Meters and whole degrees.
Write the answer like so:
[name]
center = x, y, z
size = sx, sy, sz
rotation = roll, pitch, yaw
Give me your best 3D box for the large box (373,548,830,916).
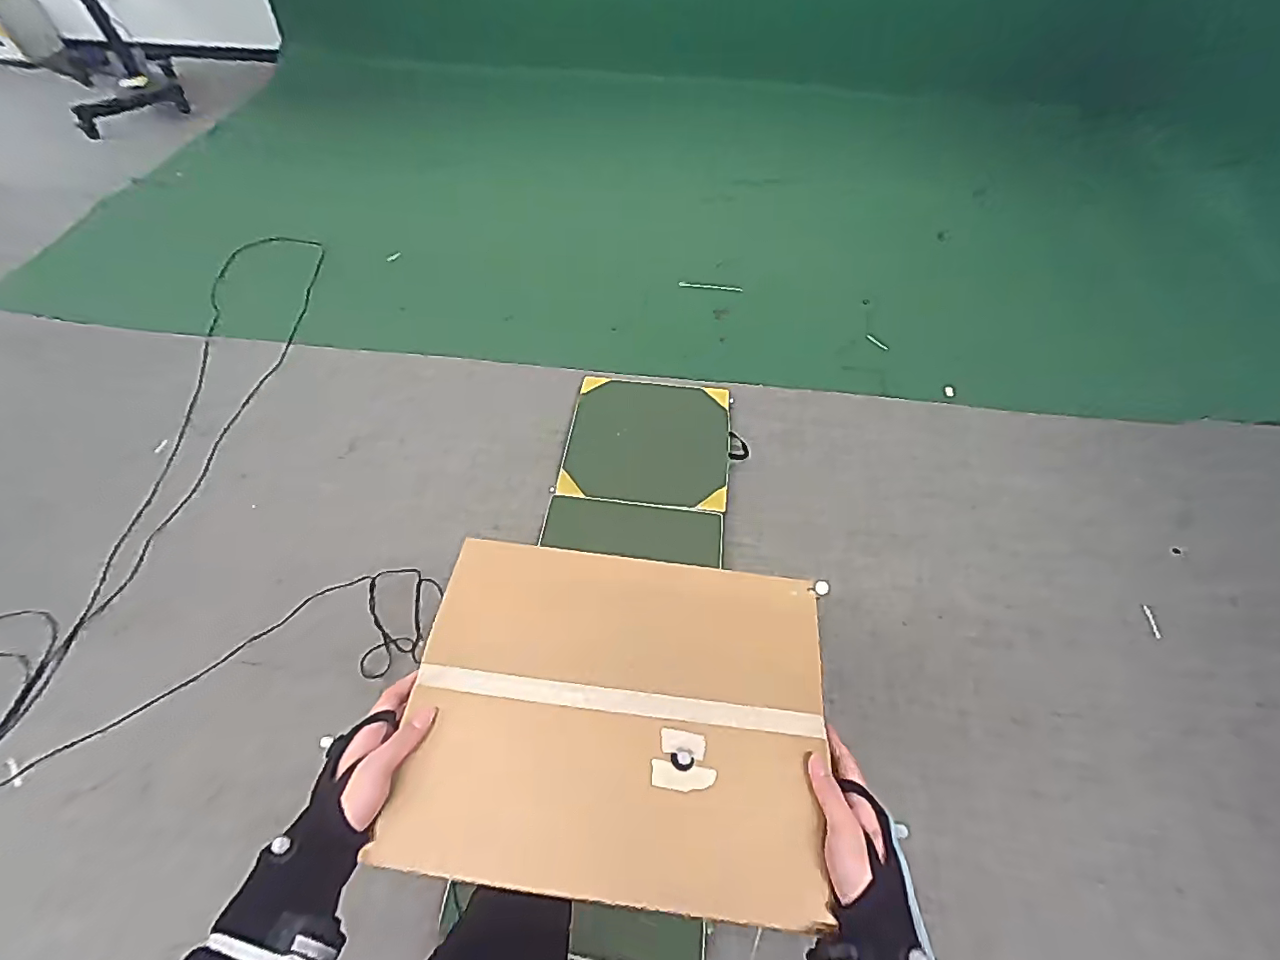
[large box]
center = -0.028, 0.310, 0.667
size = 0.408, 0.320, 0.320
rotation = 7, 55, 2
